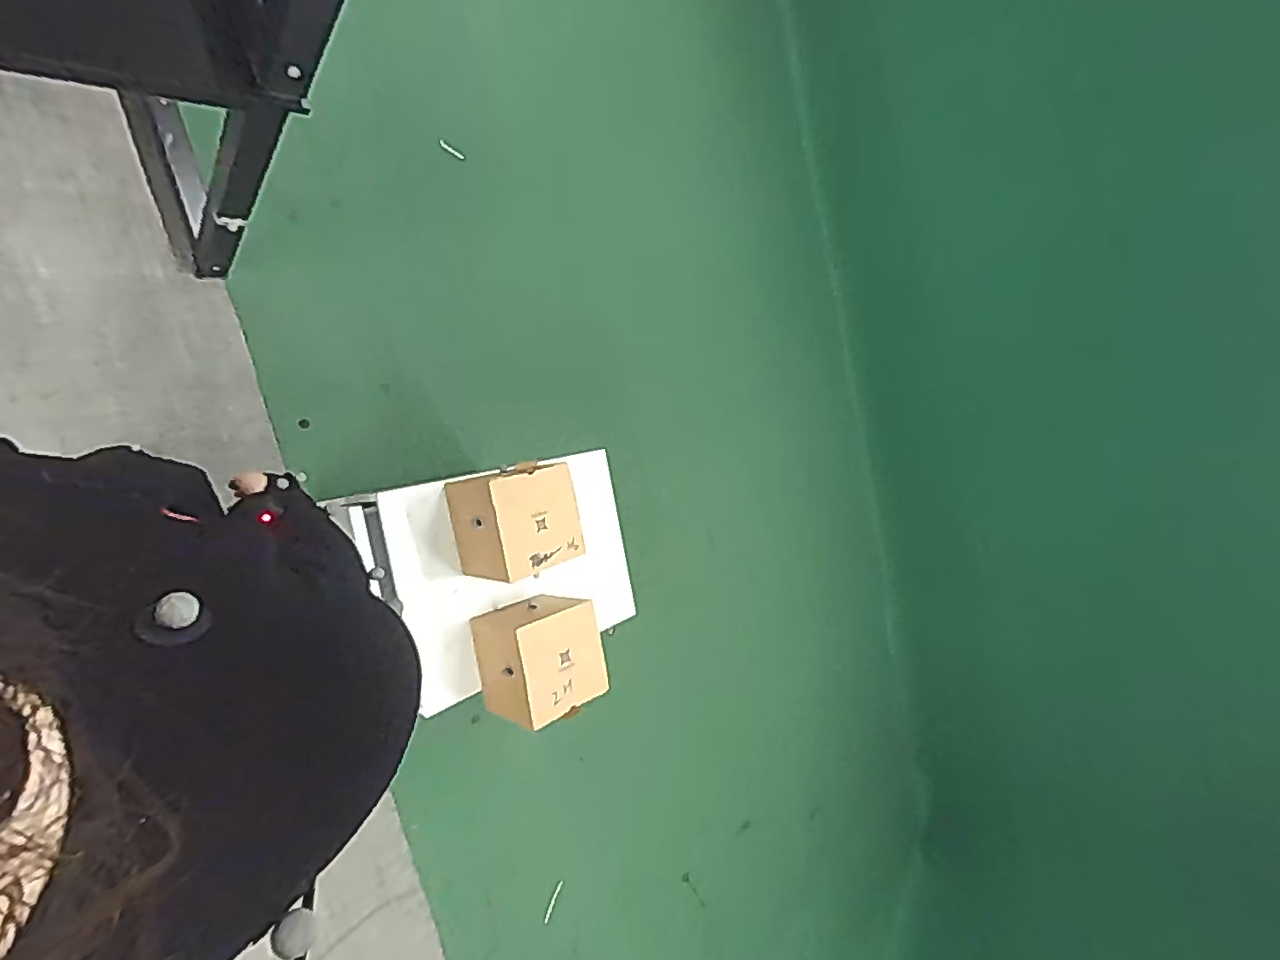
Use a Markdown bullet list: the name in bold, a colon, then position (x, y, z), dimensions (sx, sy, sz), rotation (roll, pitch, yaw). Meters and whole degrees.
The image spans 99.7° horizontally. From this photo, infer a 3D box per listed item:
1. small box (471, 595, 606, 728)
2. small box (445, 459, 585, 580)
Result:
- **small box**: position (-0.188, 0.314, 0.984), dimensions (0.168, 0.176, 0.179), rotation (-12, 95, -43)
- **small box**: position (-0.228, 0.068, 0.969), dimensions (0.168, 0.176, 0.179), rotation (-16, 98, -43)
